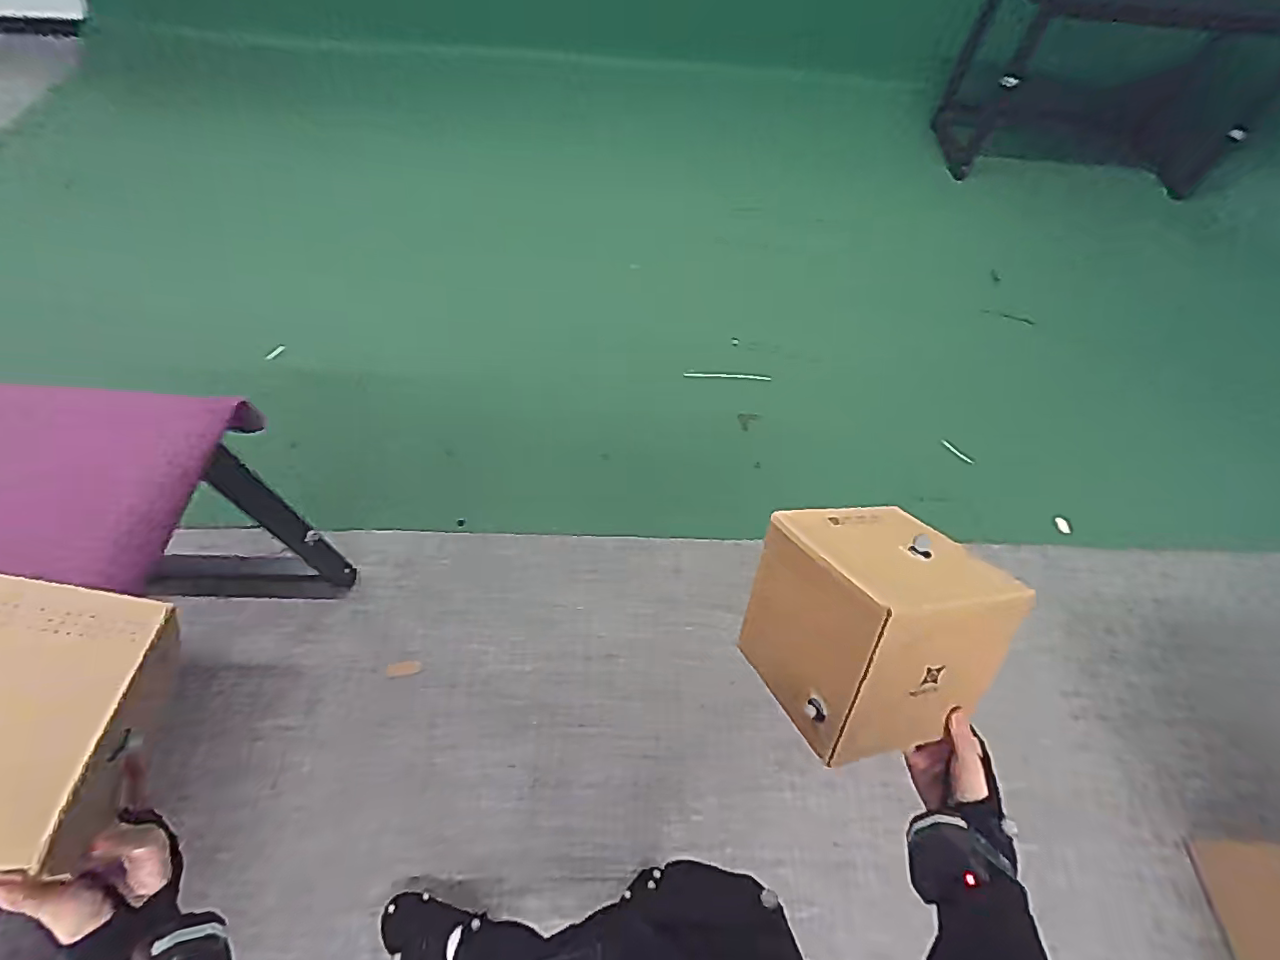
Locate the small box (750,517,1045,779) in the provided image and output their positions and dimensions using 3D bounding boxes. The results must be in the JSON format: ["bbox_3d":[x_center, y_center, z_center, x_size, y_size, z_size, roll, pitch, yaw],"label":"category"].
[{"bbox_3d":[0.229,0.144,0.528,0.168,0.179,0.176,-1,26,-21],"label":"small box"}]

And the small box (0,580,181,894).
[{"bbox_3d":[-0.447,0.172,0.365,0.179,0.168,0.176,21,50,-27],"label":"small box"}]
